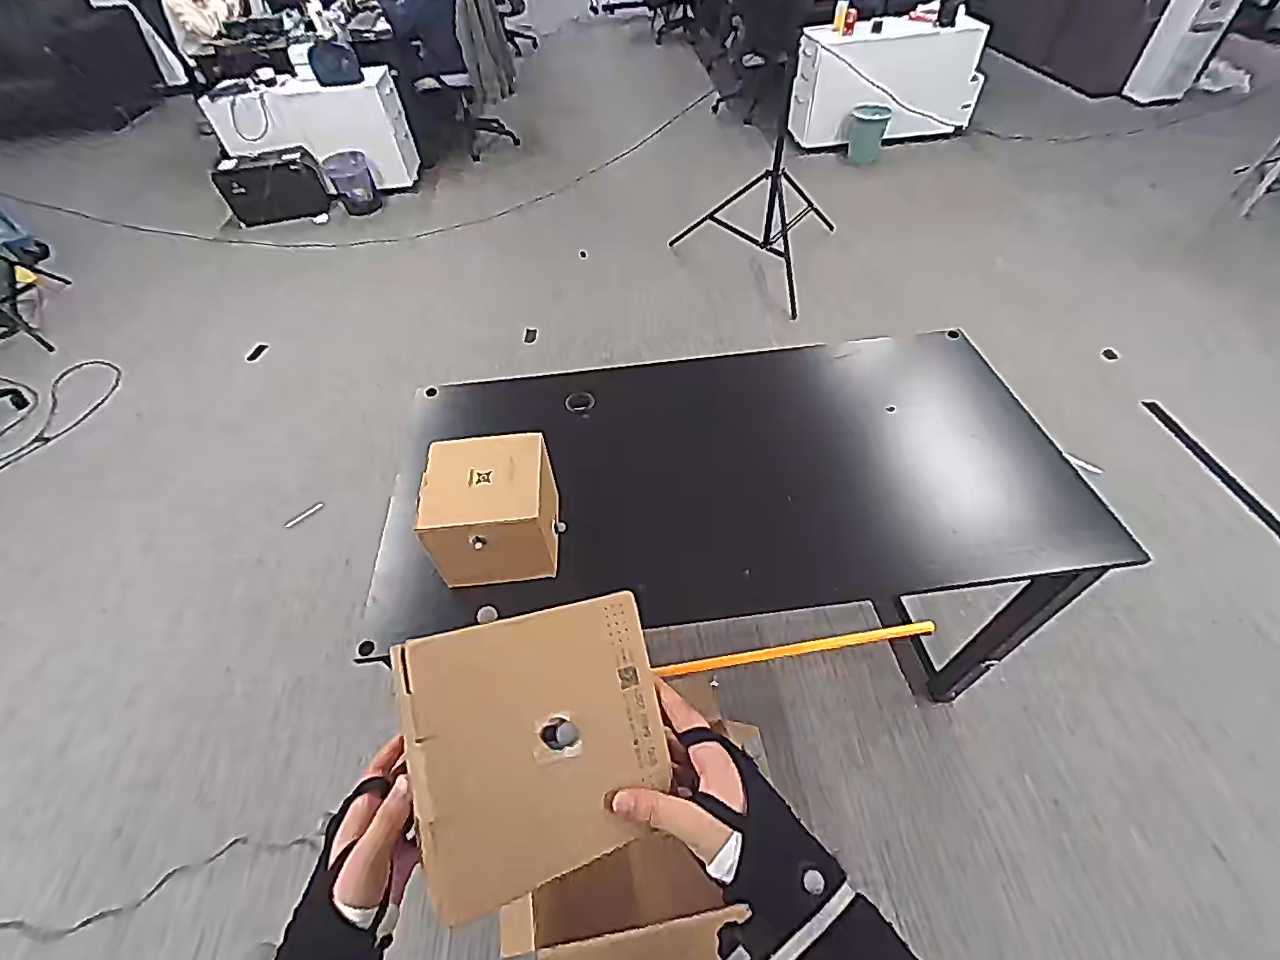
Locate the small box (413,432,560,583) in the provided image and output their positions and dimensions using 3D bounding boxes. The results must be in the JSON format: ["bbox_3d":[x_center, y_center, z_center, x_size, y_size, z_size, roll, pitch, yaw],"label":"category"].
[{"bbox_3d":[-0.226,0.048,0.844,0.179,0.176,0.168,-6,51,-2],"label":"small box"}]
